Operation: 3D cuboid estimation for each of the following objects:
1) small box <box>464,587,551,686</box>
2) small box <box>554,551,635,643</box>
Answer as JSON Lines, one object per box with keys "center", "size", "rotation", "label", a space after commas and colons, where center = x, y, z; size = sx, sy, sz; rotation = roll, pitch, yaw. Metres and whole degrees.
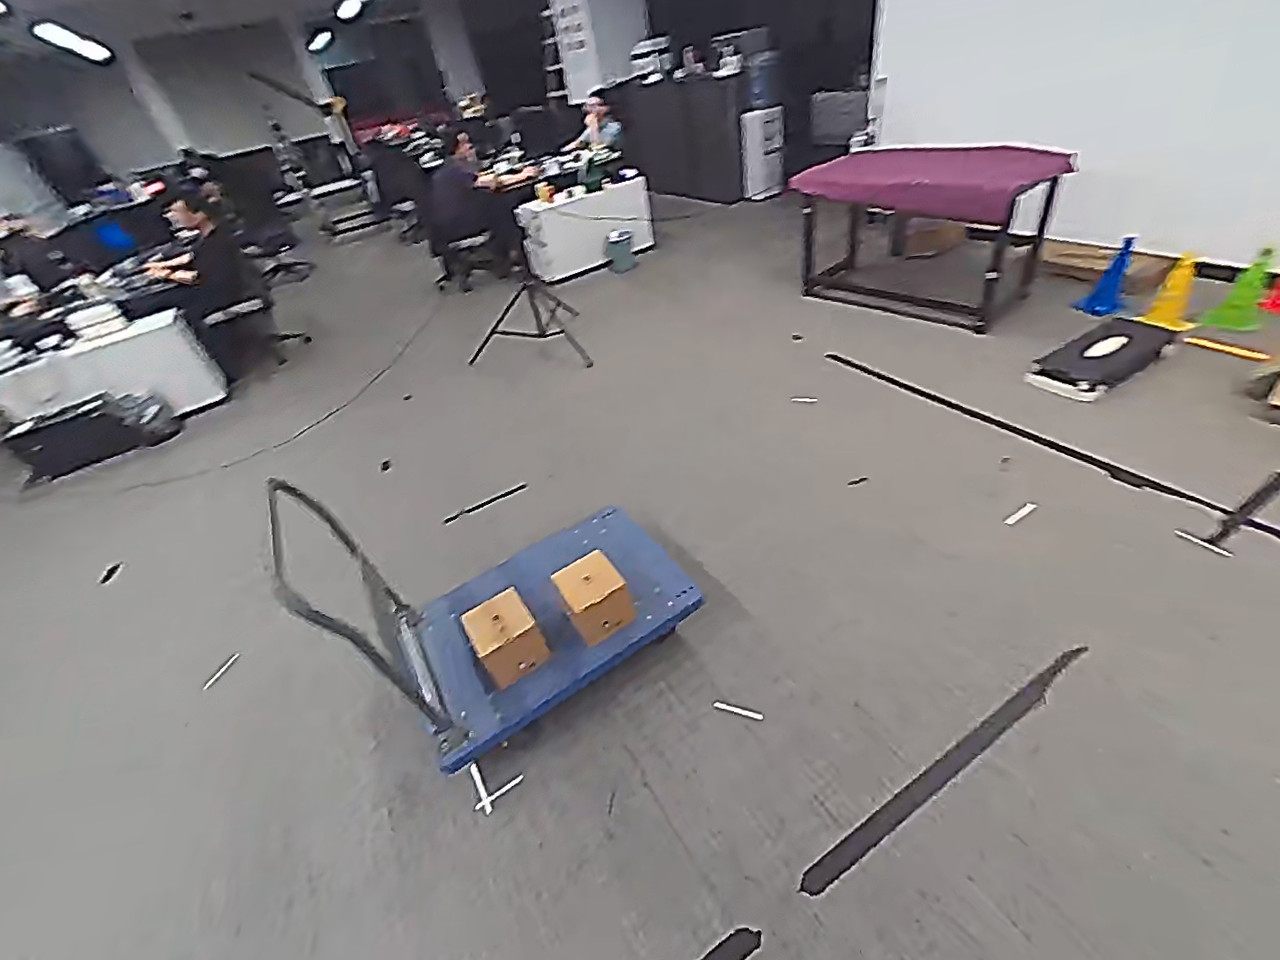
{"center": [-0.380, 0.453, 1.562], "size": [0.168, 0.176, 0.179], "rotation": [-29, 42, -19], "label": "small box"}
{"center": [-0.134, 0.352, 1.623], "size": [0.168, 0.176, 0.179], "rotation": [-28, 42, -19], "label": "small box"}
